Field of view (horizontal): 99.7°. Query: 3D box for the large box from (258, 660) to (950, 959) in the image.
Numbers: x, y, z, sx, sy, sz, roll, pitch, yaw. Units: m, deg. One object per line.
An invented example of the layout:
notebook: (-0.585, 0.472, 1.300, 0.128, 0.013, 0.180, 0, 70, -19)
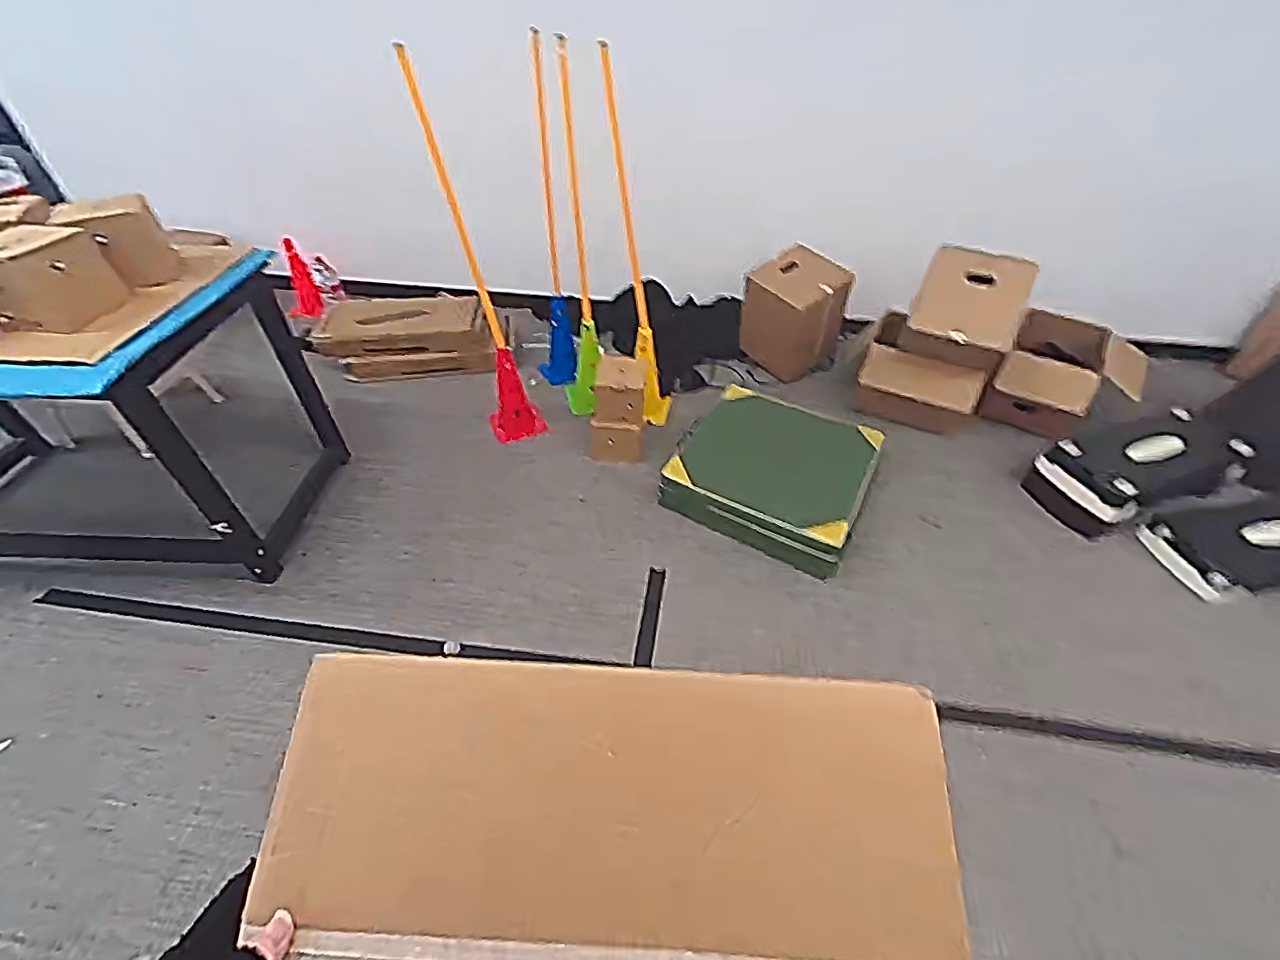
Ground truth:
large box: (-0.021, 0.329, 0.448, 0.408, 0.320, 0.320, 2, 69, 2)
